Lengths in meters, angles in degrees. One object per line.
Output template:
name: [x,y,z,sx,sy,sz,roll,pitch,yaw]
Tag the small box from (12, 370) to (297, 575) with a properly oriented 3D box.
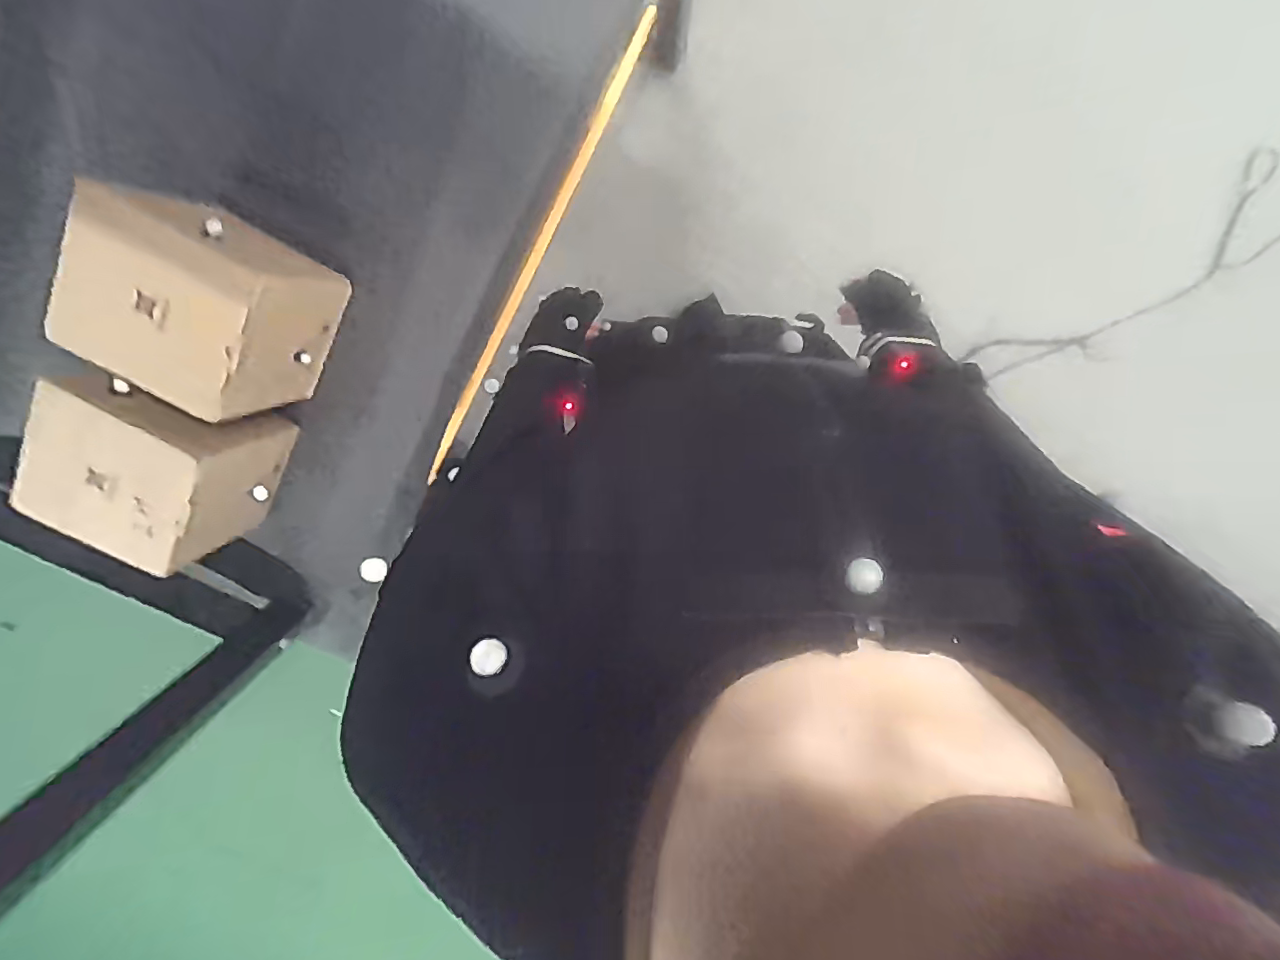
small box: [-0.572,-0.022,0.658,0.179,0.176,0.168,29,106,-7]
